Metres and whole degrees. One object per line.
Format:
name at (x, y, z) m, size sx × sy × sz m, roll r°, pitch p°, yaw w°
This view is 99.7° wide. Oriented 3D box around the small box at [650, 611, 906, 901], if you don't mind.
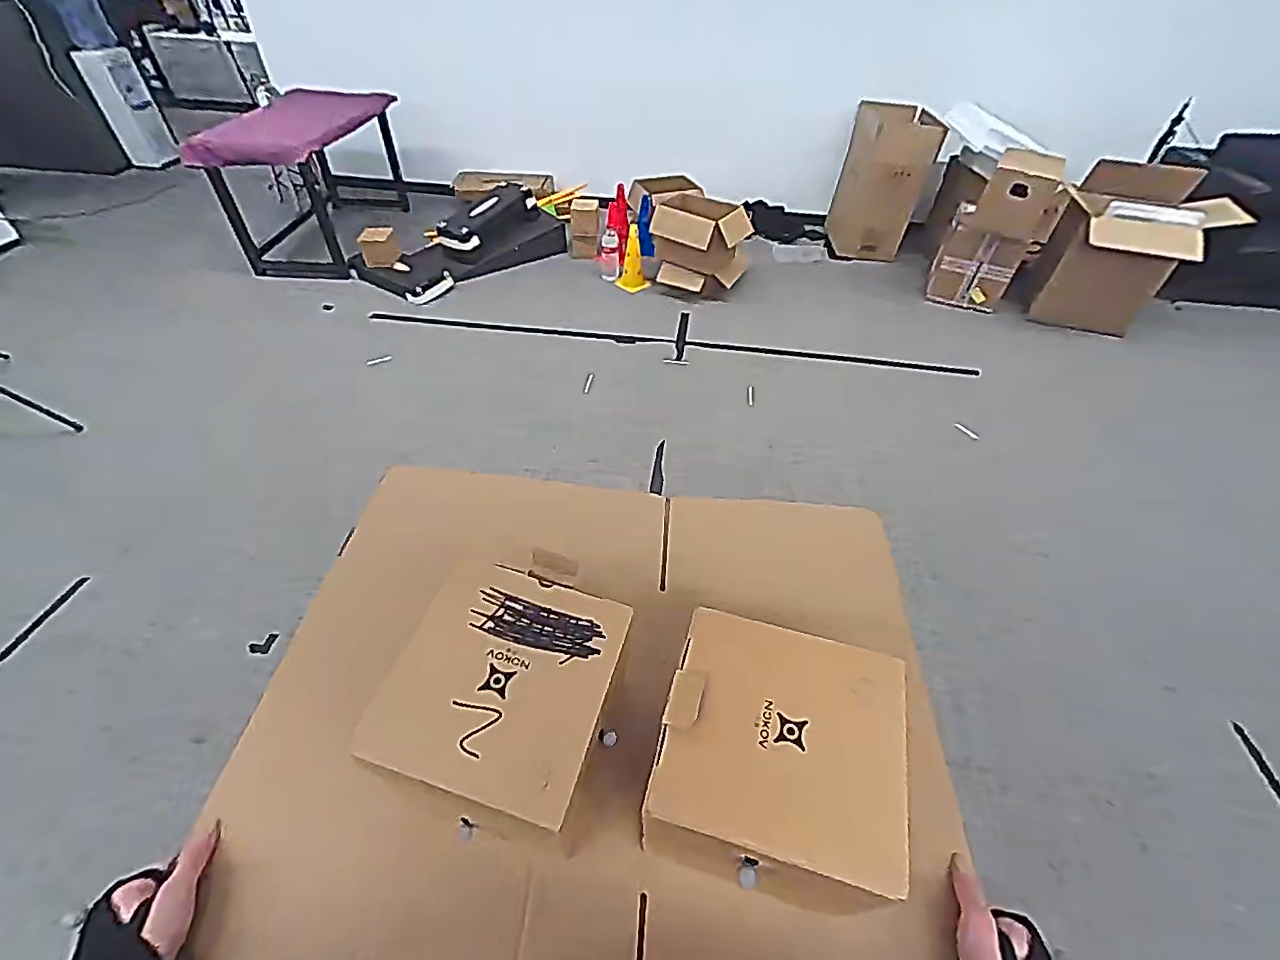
small box at (0.115, 0.245, 0.478) m, size 0.179 × 0.176 × 0.168 m, roll 11°, pitch 50°, yaw 12°
